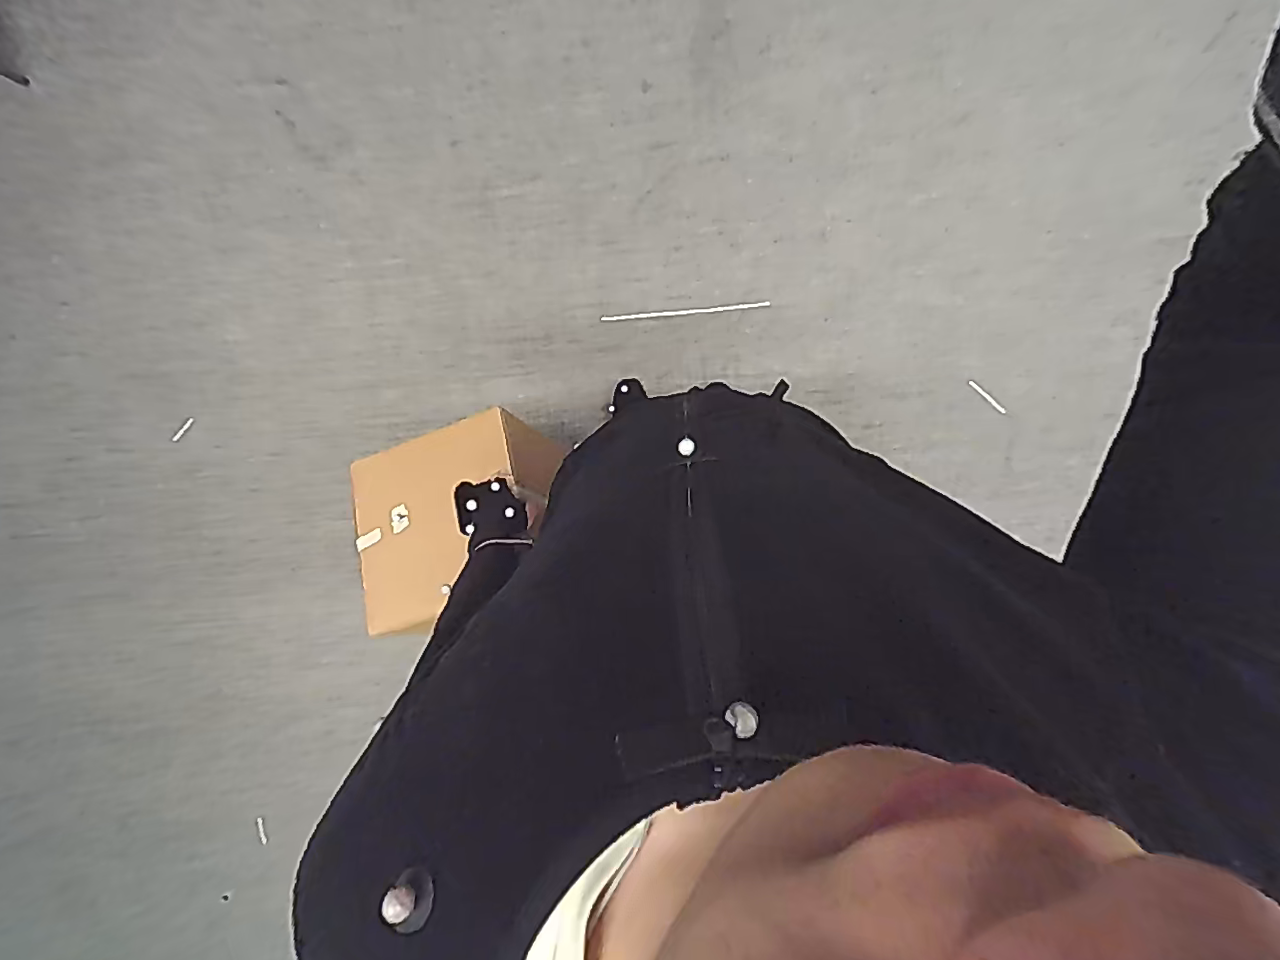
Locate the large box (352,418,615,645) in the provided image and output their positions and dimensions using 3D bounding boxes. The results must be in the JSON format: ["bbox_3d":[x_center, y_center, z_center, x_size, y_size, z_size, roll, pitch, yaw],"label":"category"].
[{"bbox_3d":[-0.287,0.121,1.077,0.320,0.408,0.320,-19,73,11],"label":"large box"}]
